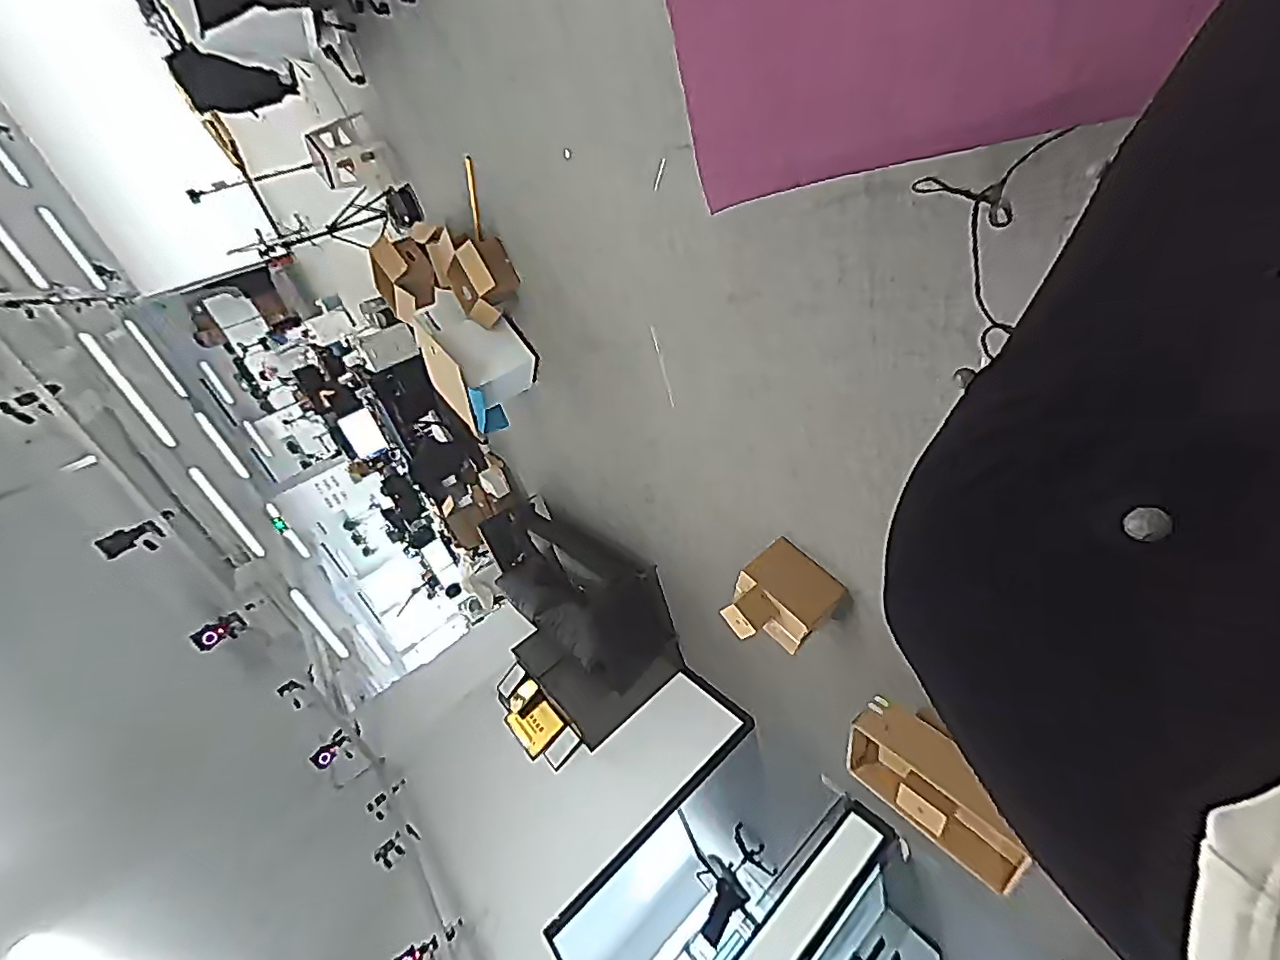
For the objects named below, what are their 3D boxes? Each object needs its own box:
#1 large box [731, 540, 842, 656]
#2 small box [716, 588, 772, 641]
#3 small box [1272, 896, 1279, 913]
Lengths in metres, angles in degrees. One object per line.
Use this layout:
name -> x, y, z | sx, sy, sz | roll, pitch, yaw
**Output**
large box -> 0.716, 0.580, 2.695 | 0.408, 0.320, 0.320 | 40, 150, 29
small box -> 0.497, 0.640, 2.576 | 0.168, 0.176, 0.179 | 51, 152, 11
small box -> 1.512, 0.913, 1.128 | 0.179, 0.176, 0.168 | 49, 154, 15
